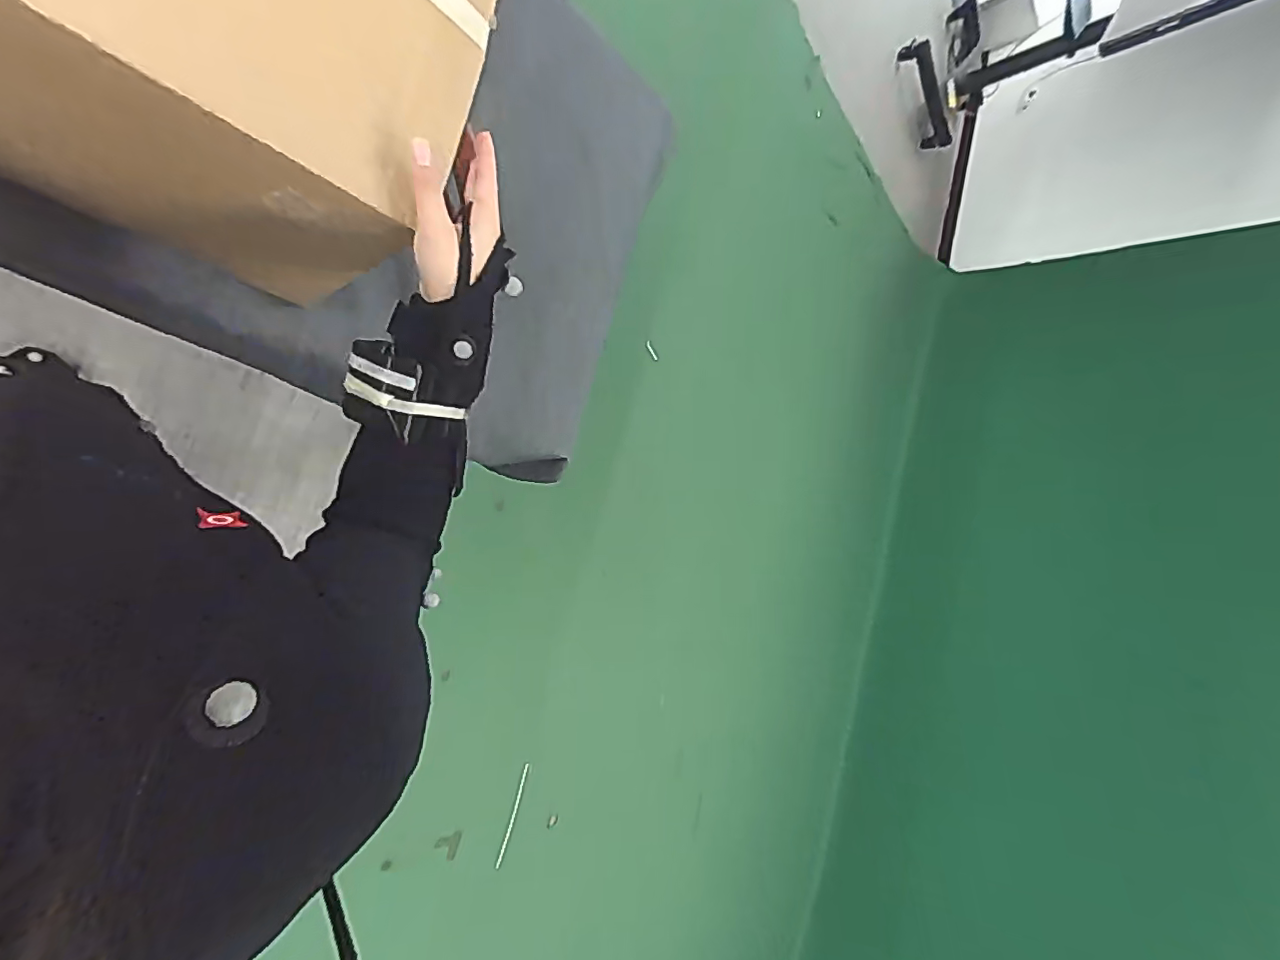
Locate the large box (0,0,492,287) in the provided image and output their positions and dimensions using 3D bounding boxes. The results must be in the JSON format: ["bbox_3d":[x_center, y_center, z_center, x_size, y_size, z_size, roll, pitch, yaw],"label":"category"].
[{"bbox_3d":[-0.359,-0.387,0.365,0.408,0.320,0.320,20,81,-46],"label":"large box"}]
